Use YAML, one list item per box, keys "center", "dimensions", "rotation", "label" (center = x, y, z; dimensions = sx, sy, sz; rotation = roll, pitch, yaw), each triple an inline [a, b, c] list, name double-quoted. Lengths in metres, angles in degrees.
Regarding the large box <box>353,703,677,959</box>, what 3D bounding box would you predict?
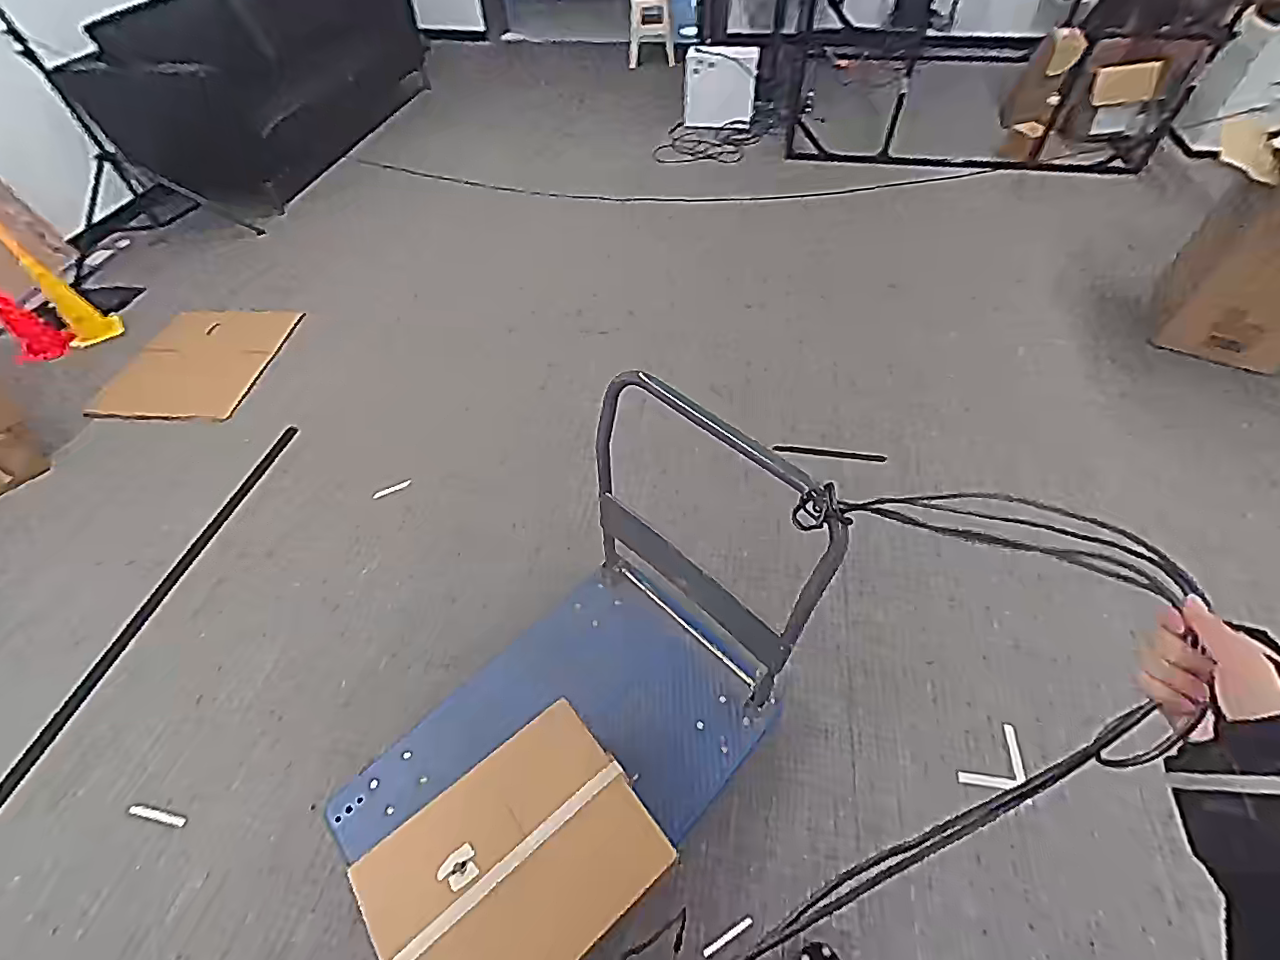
- center: [-0.183, 0.678, 0.934]
  dimensions: [0.408, 0.320, 0.320]
  rotation: [-34, 57, -22]
  label: "large box"
